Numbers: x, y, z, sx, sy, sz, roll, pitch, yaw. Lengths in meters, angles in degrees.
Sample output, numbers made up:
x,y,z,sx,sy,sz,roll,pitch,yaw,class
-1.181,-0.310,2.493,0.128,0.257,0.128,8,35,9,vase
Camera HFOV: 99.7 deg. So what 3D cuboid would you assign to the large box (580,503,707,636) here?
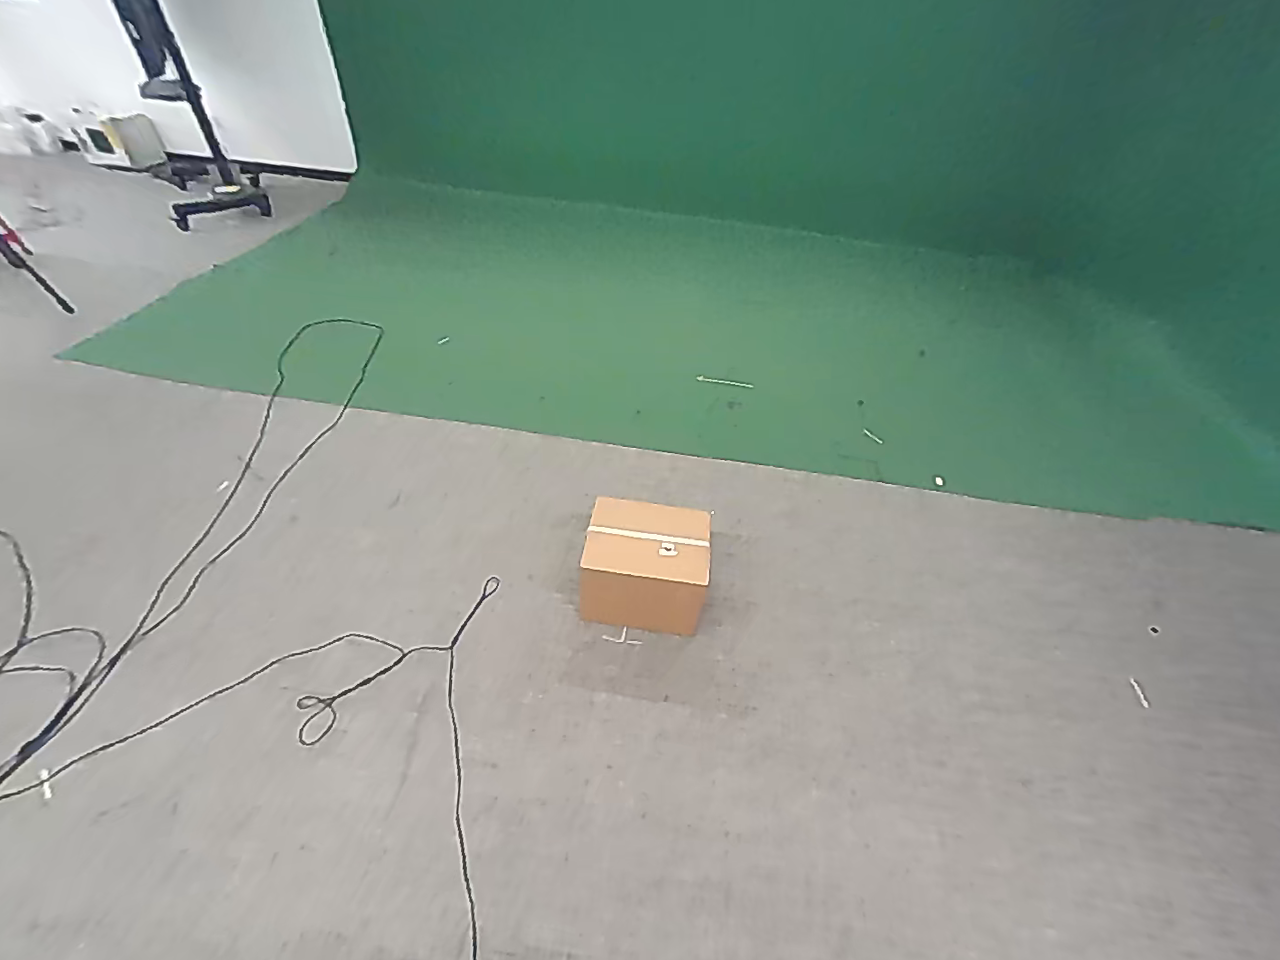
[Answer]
x,y,z,sx,sy,sz,roll,pitch,yaw,class
0.011,0.314,1.885,0.408,0.320,0.320,7,43,1,large box
